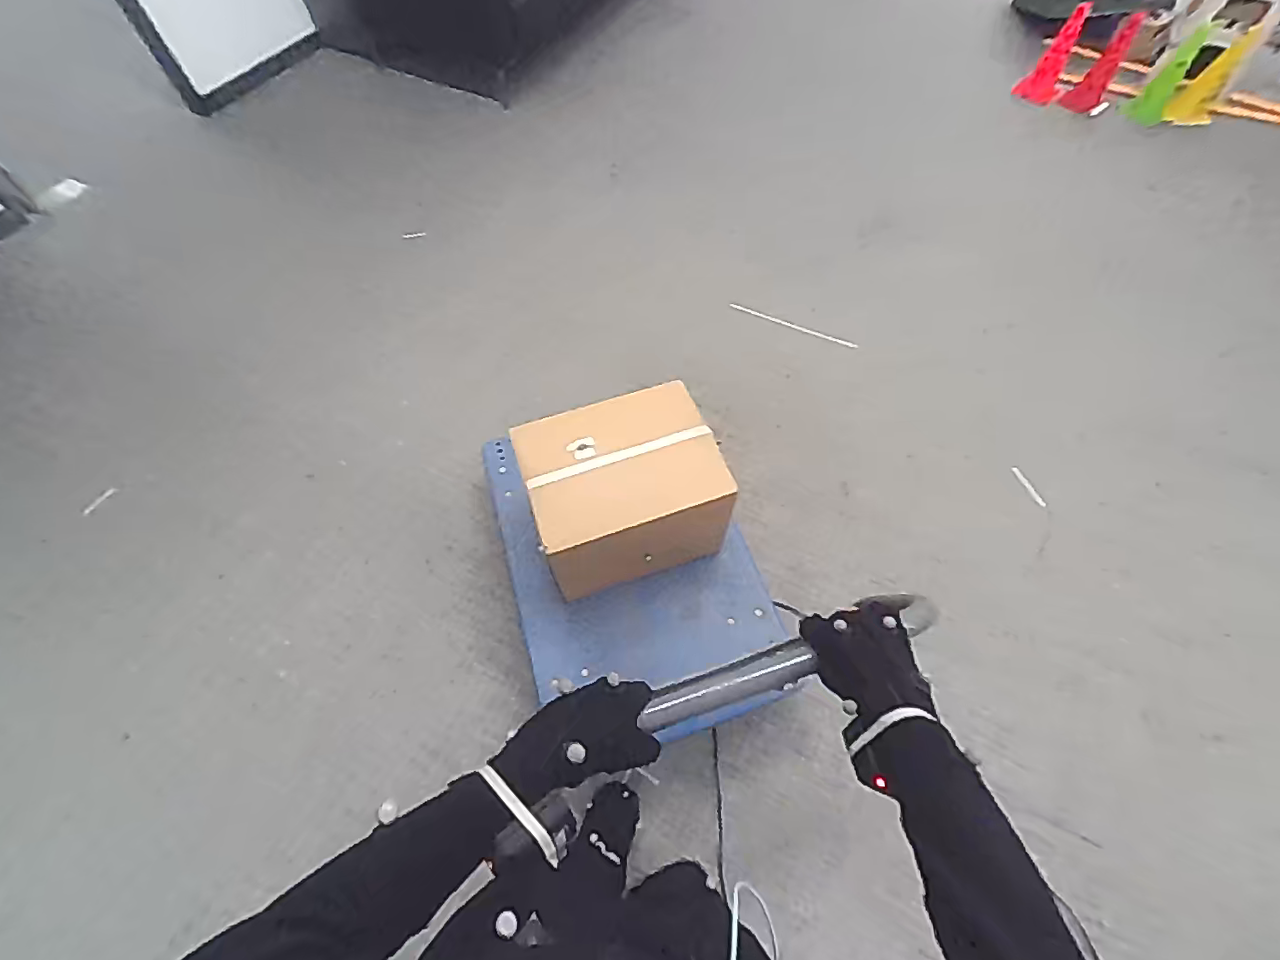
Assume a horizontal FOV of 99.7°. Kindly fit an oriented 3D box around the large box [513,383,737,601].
[{"bbox_3d":[-0.035,0.037,1.261,0.408,0.320,0.320,-19,61,-9],"label":"large box"}]
